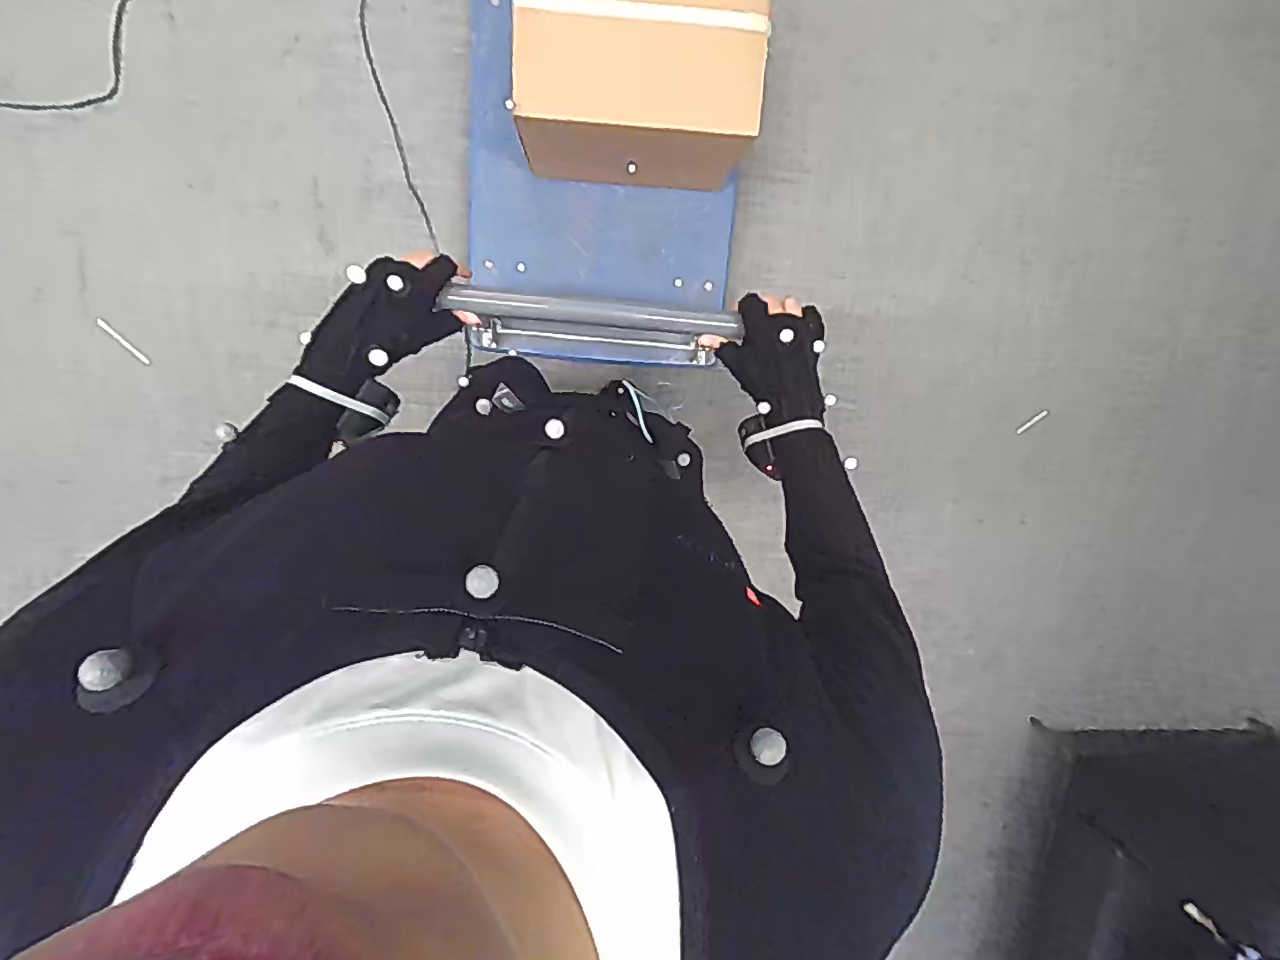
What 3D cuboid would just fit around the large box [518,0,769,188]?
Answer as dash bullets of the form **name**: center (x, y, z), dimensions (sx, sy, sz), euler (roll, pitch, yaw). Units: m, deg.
- **large box**: center (-0.002, -0.758, 1.000), dimensions (0.408, 0.320, 0.320), euler (2, 102, -5)
